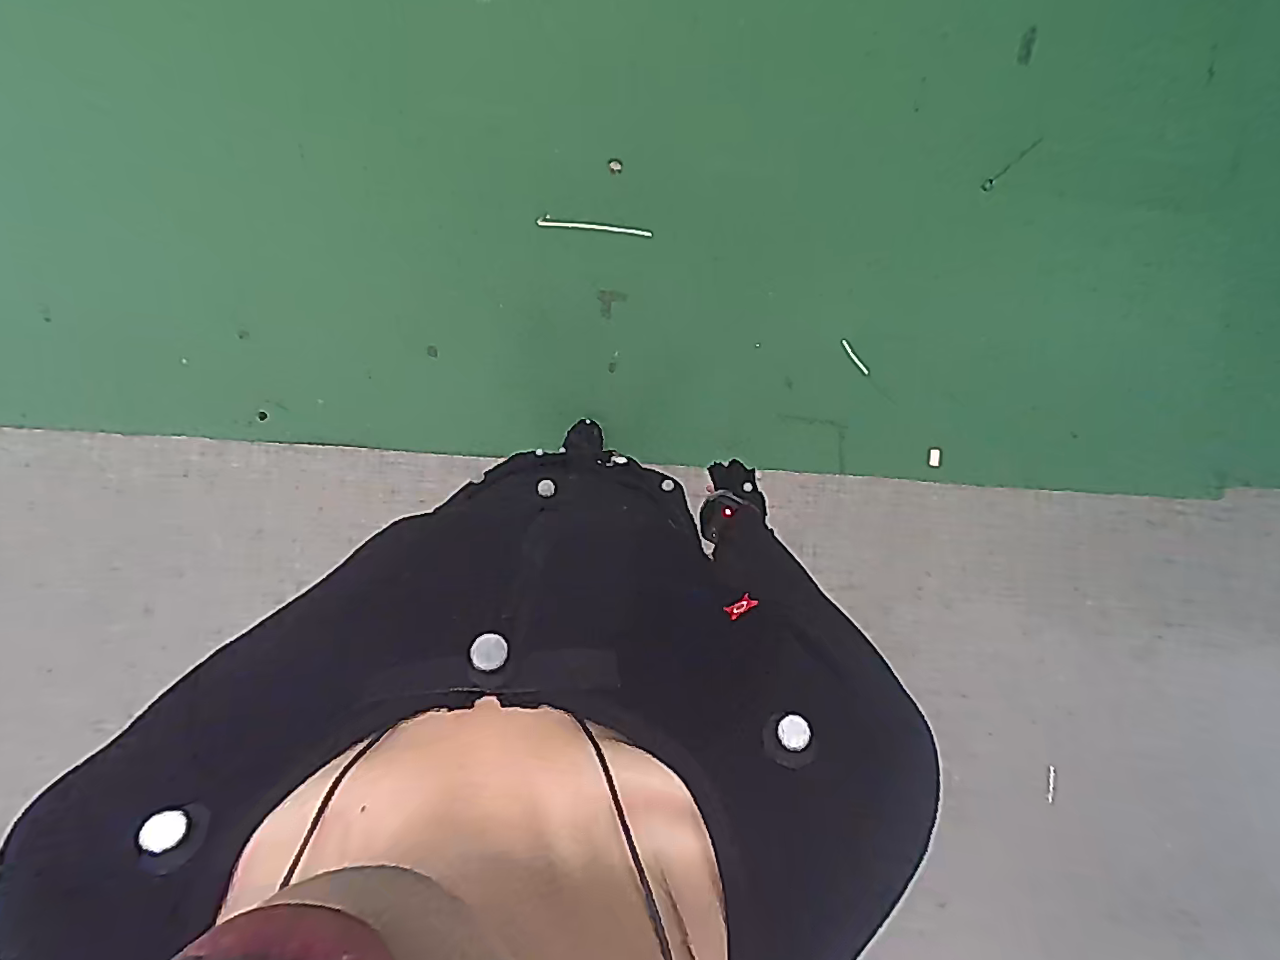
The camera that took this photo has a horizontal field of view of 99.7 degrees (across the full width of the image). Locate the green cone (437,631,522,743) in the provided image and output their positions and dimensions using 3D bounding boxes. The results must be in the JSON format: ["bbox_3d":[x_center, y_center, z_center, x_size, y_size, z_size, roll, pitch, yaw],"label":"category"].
[{"bbox_3d":[-0.421,0.523,1.313,0.200,0.368,0.202,6,92,-3],"label":"green cone"}]
